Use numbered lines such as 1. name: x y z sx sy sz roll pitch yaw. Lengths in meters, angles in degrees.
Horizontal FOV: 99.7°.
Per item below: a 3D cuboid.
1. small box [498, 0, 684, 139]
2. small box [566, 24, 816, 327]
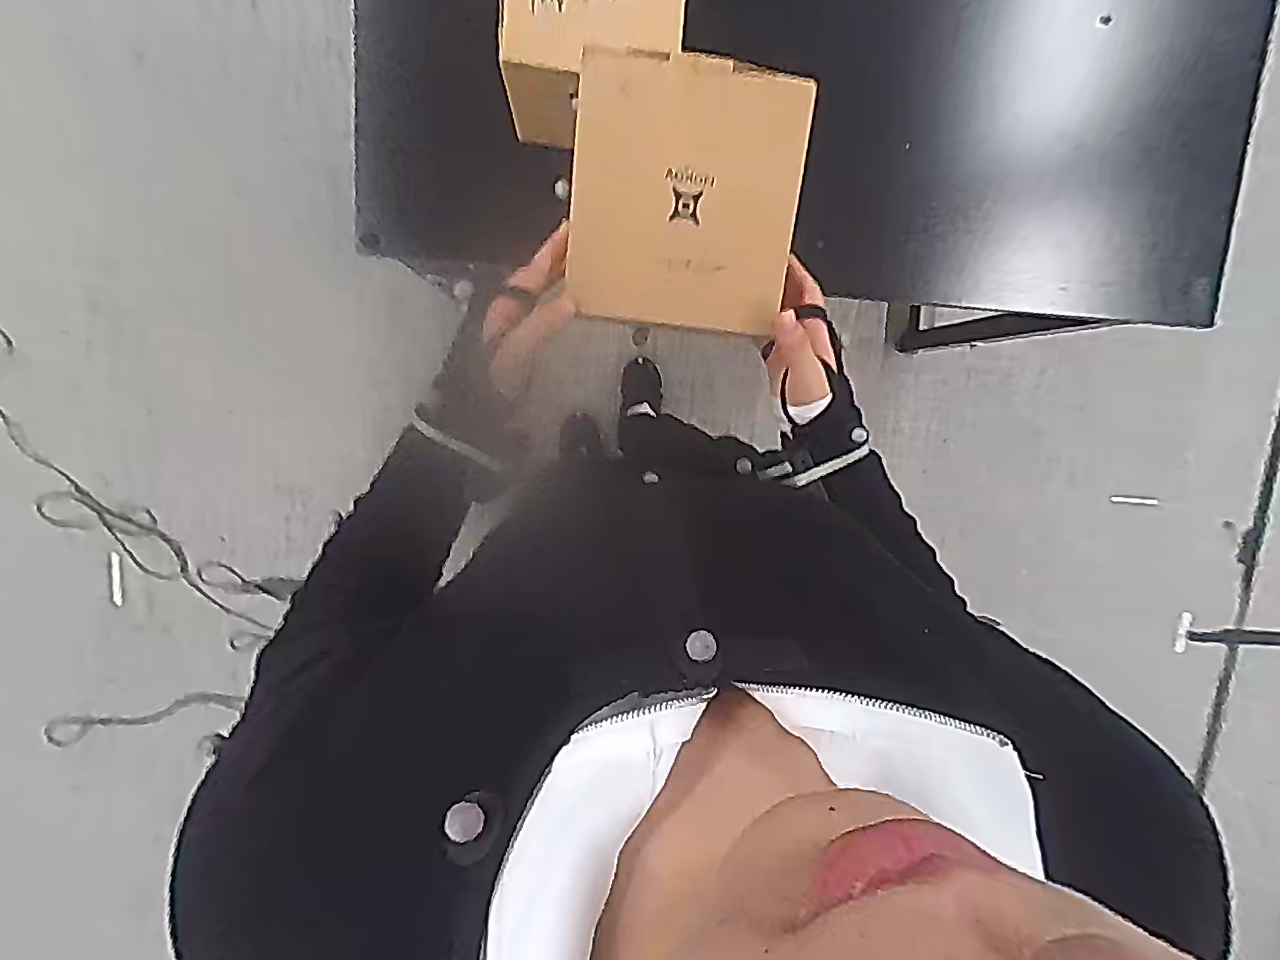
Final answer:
1. small box: -0.050 -0.492 0.591 0.179 0.176 0.168 4 98 -7
2. small box: 0.027 -0.232 0.465 0.168 0.176 0.179 5 104 -6
